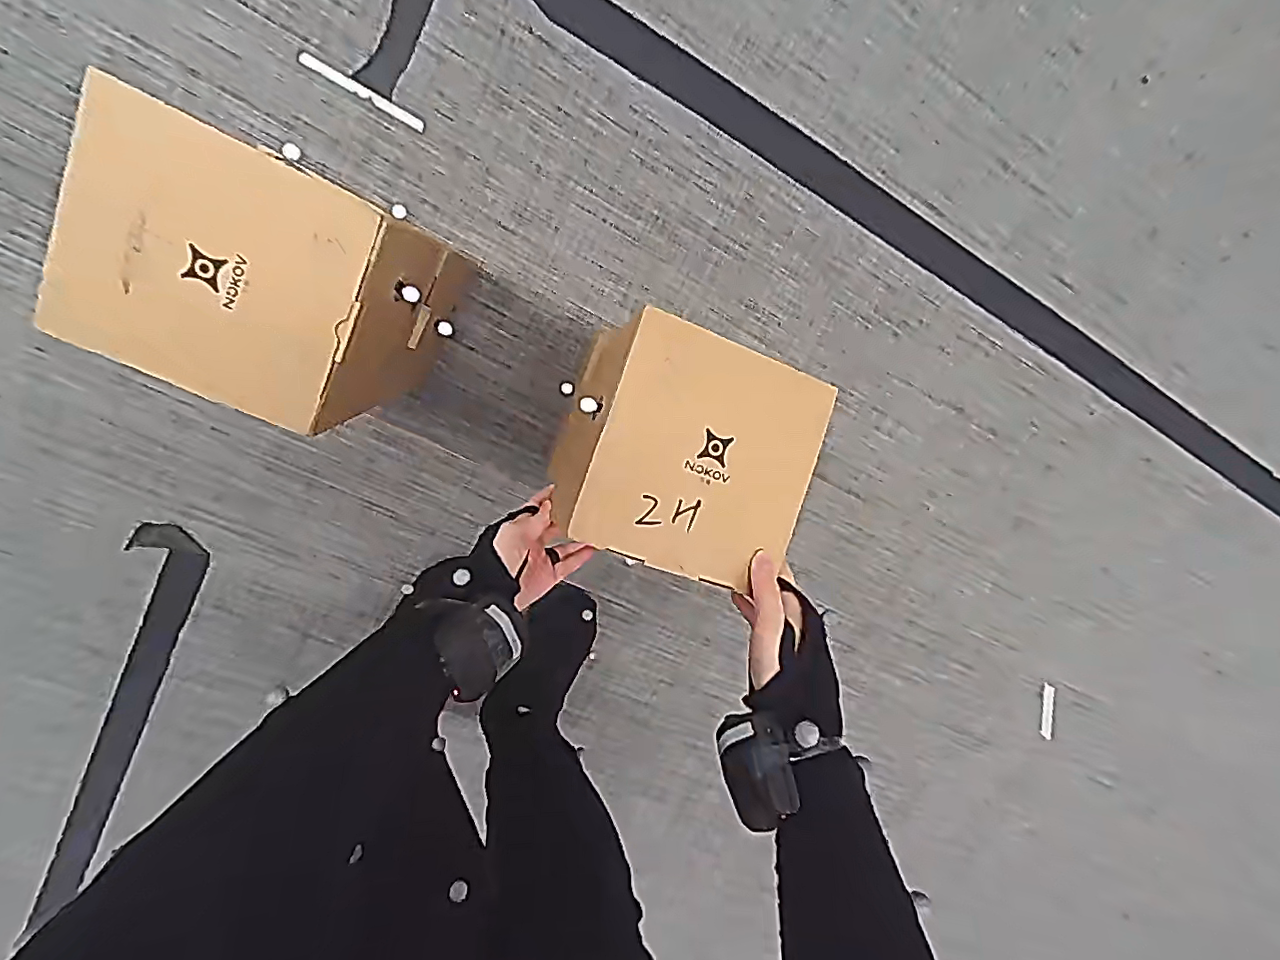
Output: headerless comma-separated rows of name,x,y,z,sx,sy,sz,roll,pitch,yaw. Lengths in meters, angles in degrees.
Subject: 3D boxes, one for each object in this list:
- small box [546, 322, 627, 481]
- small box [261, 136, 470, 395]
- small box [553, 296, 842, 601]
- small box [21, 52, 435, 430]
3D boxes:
small box,-0.004,-0.077,0.651,0.168,0.176,0.179,20,104,-13
small box,-0.298,-0.213,0.569,0.179,0.176,0.168,26,103,-15
small box,0.032,-0.022,0.461,0.168,0.176,0.179,21,88,-14
small box,-0.282,-0.162,0.414,0.179,0.176,0.168,25,103,-13
